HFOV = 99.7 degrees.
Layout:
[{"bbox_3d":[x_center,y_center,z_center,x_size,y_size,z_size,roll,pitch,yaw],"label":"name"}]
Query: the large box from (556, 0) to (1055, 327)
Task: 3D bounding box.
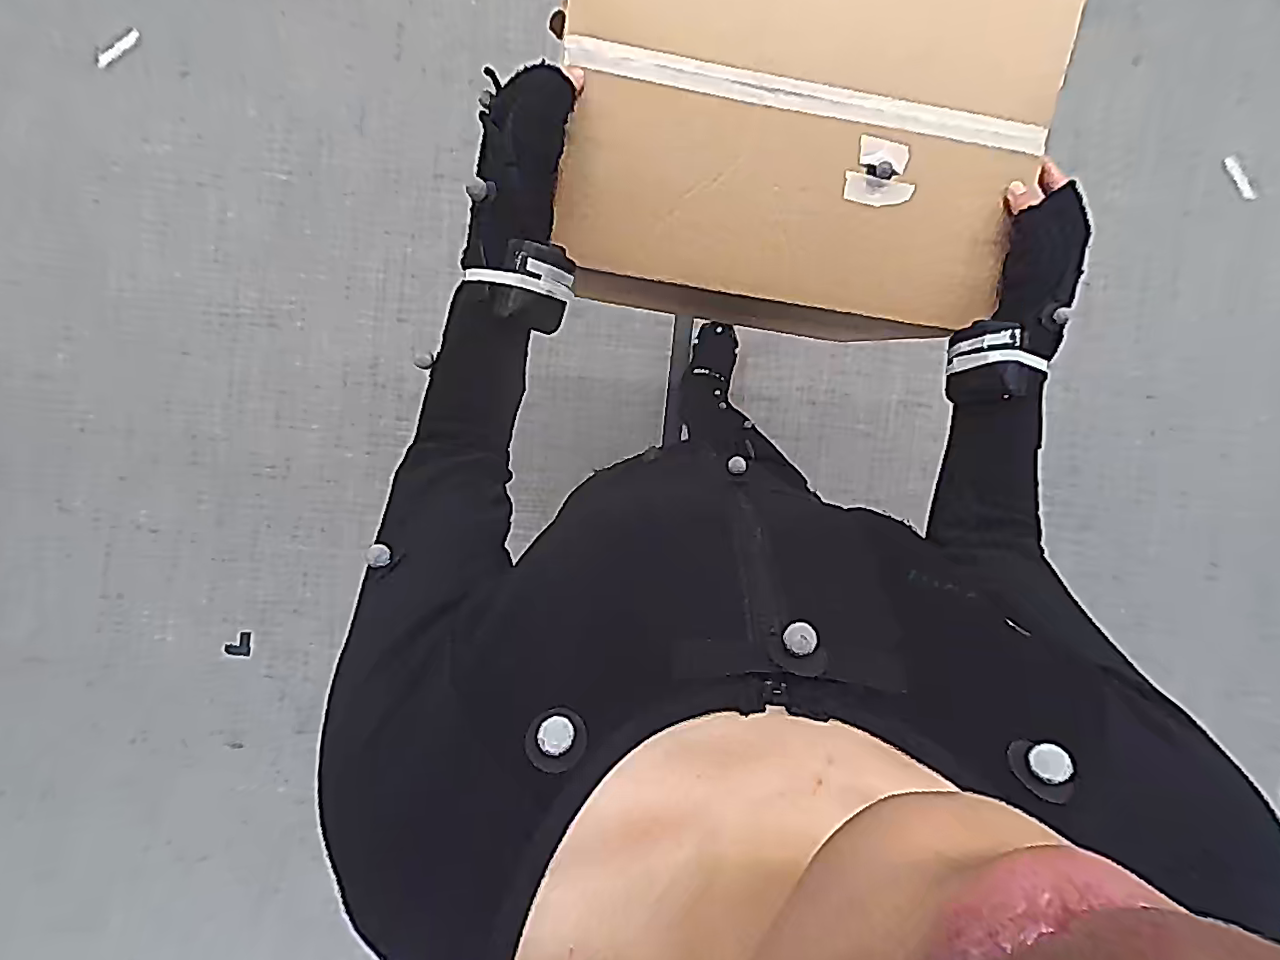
[{"bbox_3d":[0.129,-0.360,0.604,0.408,0.320,0.320,7,104,-5],"label":"large box"}]
